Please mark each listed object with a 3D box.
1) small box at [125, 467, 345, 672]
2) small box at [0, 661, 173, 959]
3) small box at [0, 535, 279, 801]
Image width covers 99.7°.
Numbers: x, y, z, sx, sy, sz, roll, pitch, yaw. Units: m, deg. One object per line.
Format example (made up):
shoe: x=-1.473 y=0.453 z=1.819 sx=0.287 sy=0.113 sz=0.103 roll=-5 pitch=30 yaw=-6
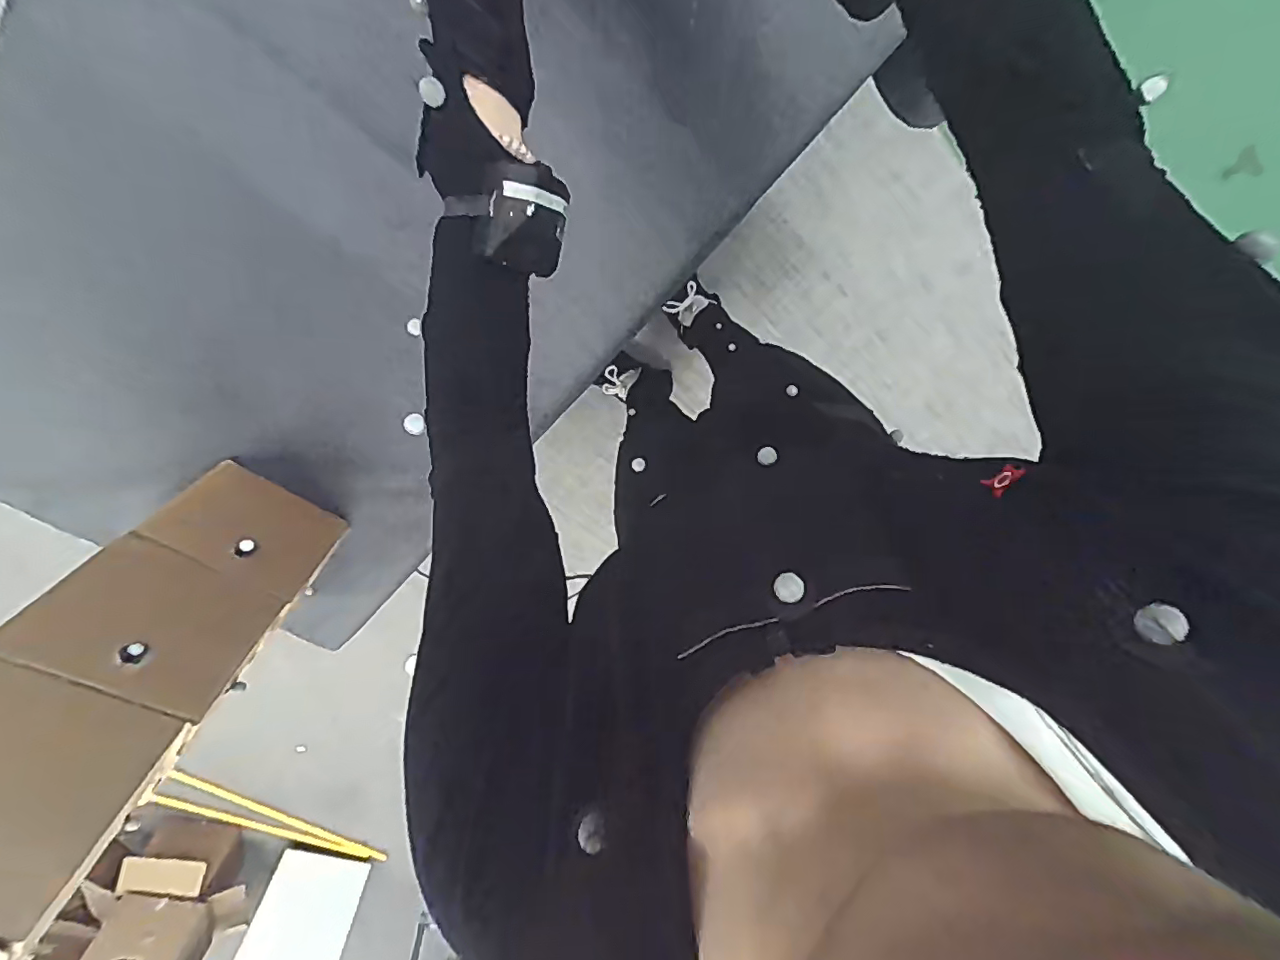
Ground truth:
small box: x=-0.530 y=0.107 z=0.701 sx=0.179 sy=0.176 sz=0.168 roll=35 pitch=113 yaw=-21
small box: x=-0.524 y=0.268 z=0.417 sx=0.179 sy=0.176 sz=0.168 roll=34 pitch=112 yaw=-20
small box: x=-0.525 y=0.188 z=0.560 sx=0.179 sy=0.176 sz=0.168 roll=36 pitch=112 yaw=-21
